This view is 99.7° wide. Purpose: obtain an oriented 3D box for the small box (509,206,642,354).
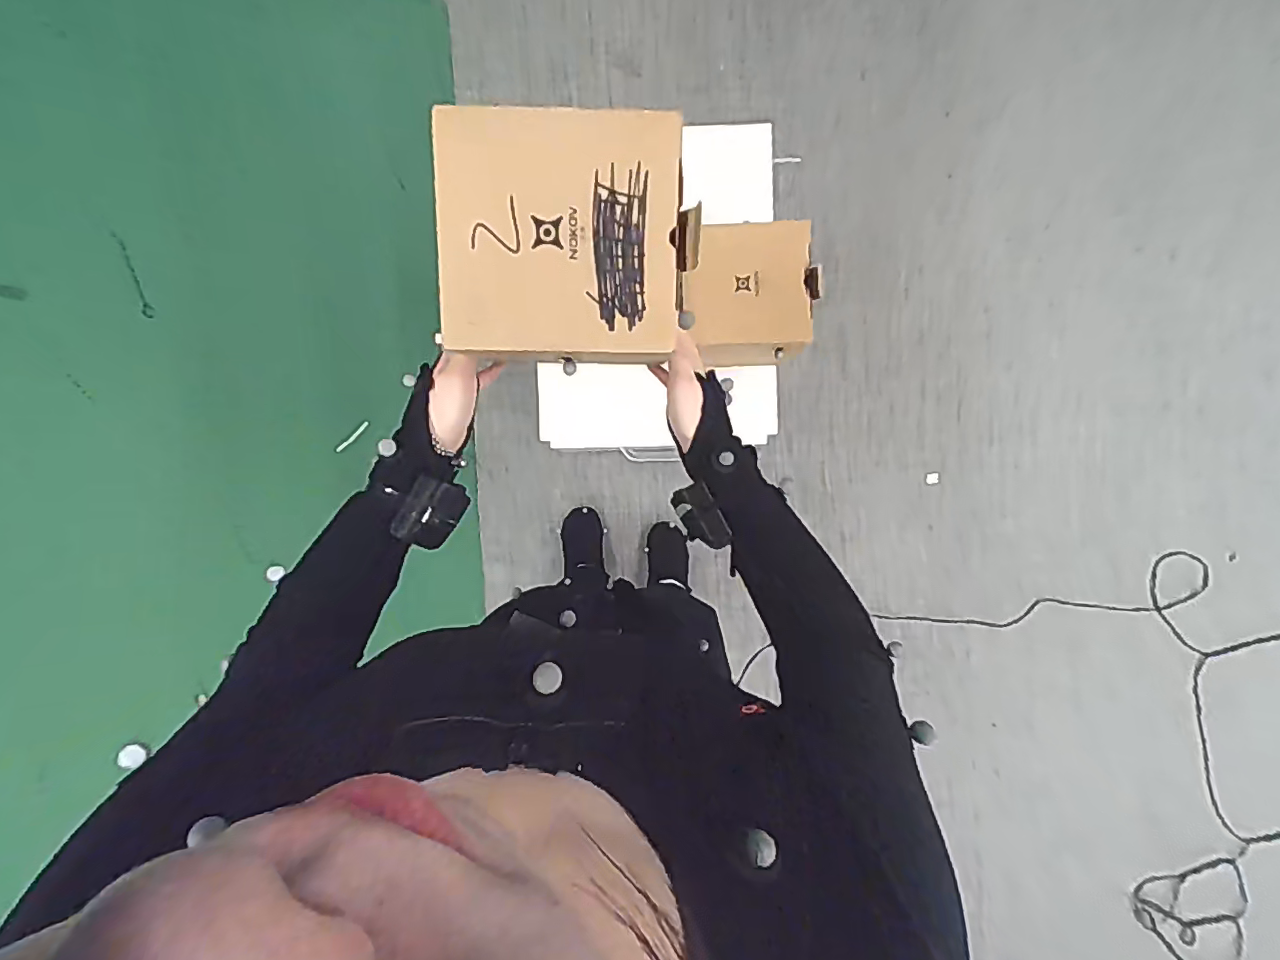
[{"bbox_3d":[-0.088,-0.287,0.808,0.179,0.176,0.168,-2,92,0],"label":"small box"}]
